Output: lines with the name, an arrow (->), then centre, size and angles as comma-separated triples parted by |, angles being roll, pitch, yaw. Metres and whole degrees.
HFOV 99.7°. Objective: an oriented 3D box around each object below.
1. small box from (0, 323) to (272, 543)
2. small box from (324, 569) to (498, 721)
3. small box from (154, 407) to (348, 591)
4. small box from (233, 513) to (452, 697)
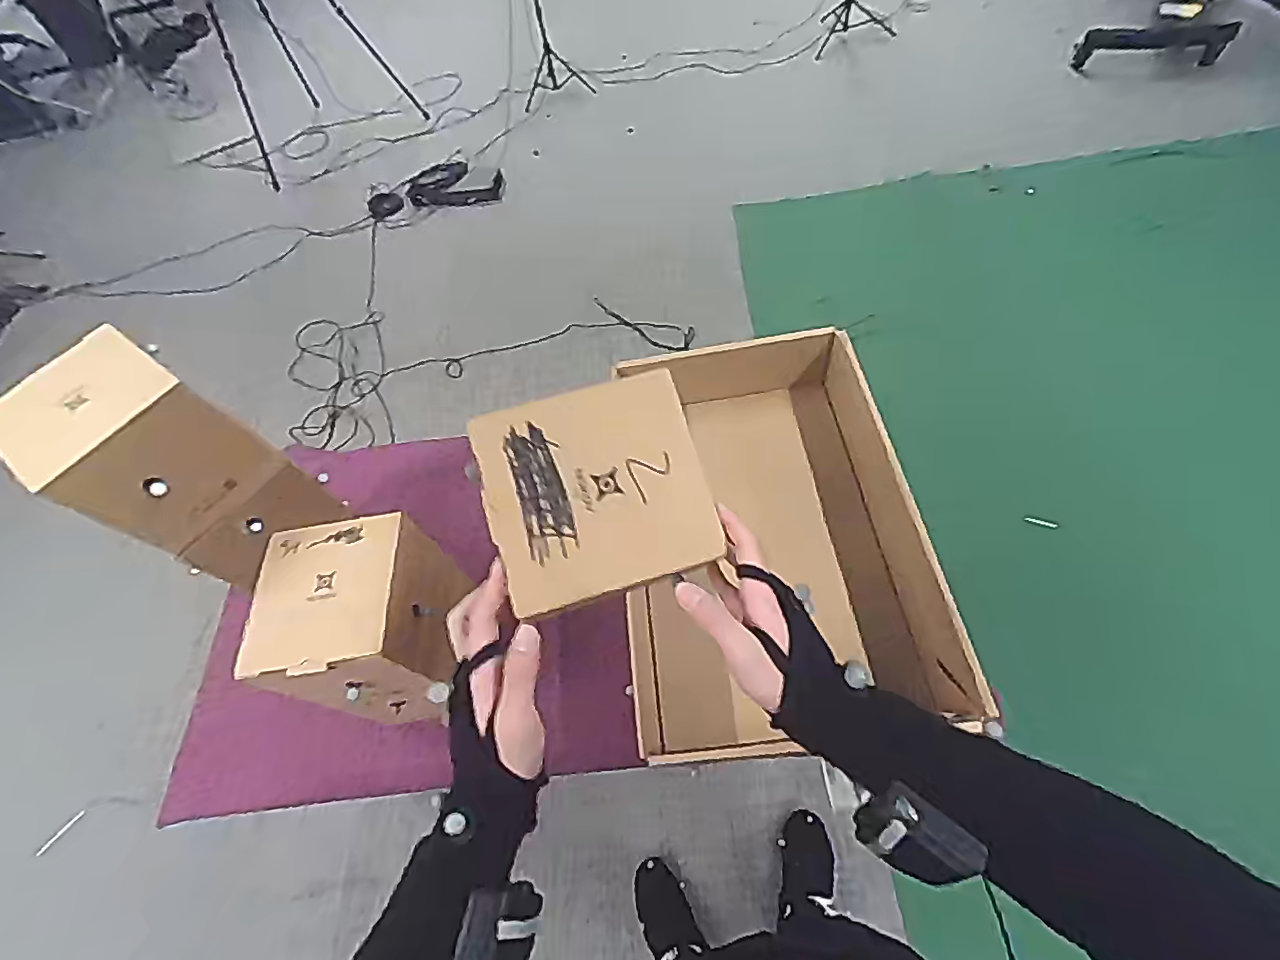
small box -> -0.597, -0.046, 0.645 | 0.179, 0.176, 0.168 | 29, 68, 21
small box -> -0.328, 0.253, 0.810 | 0.179, 0.176, 0.168 | -10, 58, 1
small box -> -0.574, 0.035, 0.782 | 0.168, 0.176, 0.179 | 32, 68, 21
small box -> -0.348, 0.164, 0.674 | 0.168, 0.176, 0.179 | -9, 58, 2
